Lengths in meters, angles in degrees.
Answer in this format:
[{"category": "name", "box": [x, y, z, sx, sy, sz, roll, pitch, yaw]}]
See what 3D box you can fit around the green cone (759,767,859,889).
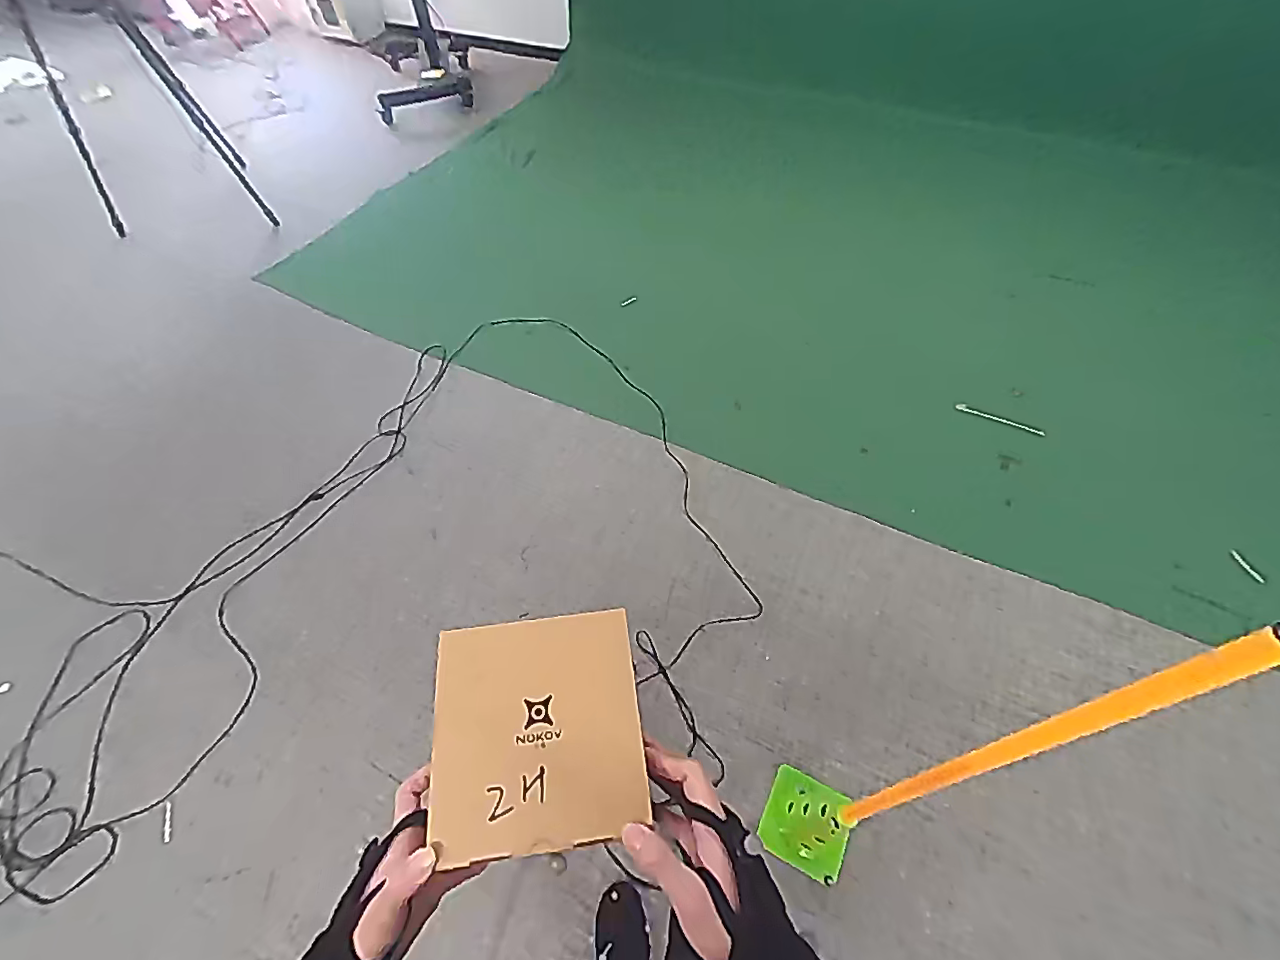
[{"category": "green cone", "box": [0.405, 0.734, 1.171, 0.202, 0.368, 0.200, 22, 58, 17]}]
